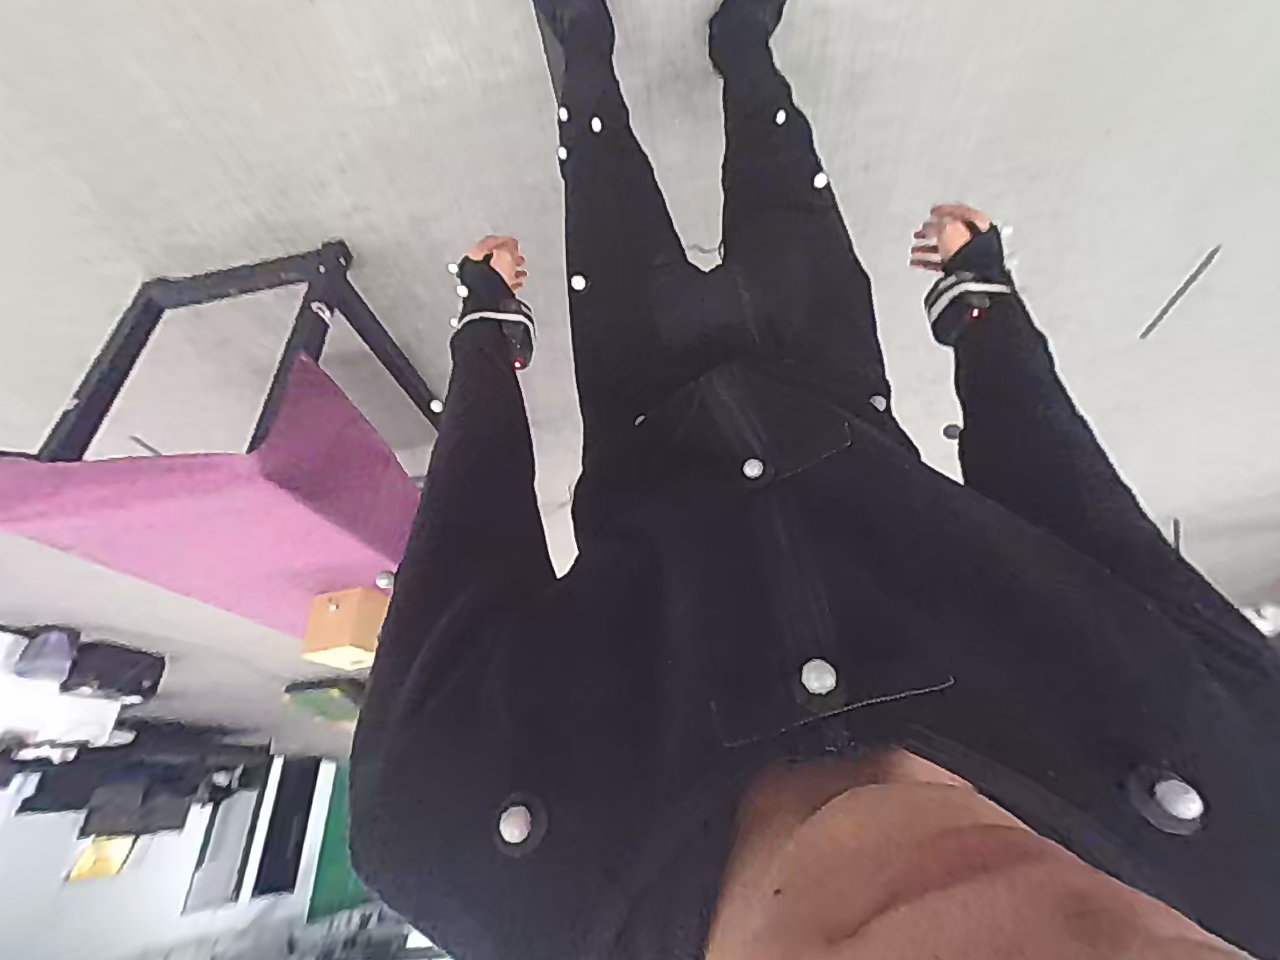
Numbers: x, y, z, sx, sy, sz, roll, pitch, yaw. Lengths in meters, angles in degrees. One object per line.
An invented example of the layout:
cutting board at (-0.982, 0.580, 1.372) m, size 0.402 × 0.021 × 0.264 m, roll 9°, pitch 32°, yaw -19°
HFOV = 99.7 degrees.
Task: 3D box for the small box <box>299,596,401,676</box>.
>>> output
small box at (-0.801, 0.438, 1.516) m, size 0.168 × 0.176 × 0.179 m, roll -14°, pitch 146°, yaw 14°
